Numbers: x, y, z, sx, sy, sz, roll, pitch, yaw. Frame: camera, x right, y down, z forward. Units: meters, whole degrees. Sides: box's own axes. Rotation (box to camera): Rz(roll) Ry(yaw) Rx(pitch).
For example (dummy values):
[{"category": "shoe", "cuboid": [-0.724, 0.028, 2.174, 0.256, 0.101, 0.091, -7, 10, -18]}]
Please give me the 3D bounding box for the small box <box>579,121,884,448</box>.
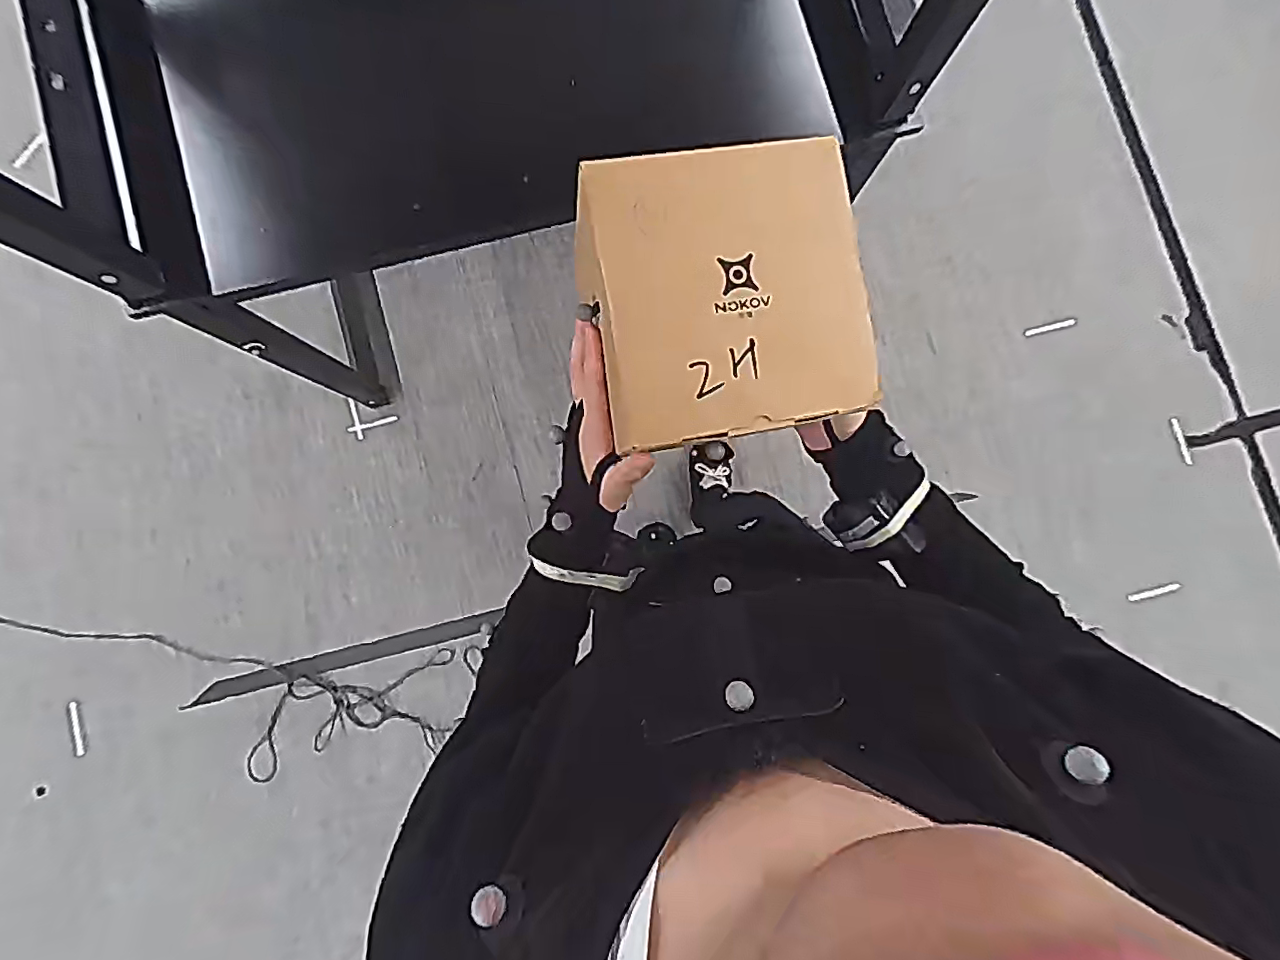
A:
[{"category": "small box", "cuboid": [0.049, -0.125, 0.407, 0.168, 0.176, 0.179, -11, 93, -7]}]
